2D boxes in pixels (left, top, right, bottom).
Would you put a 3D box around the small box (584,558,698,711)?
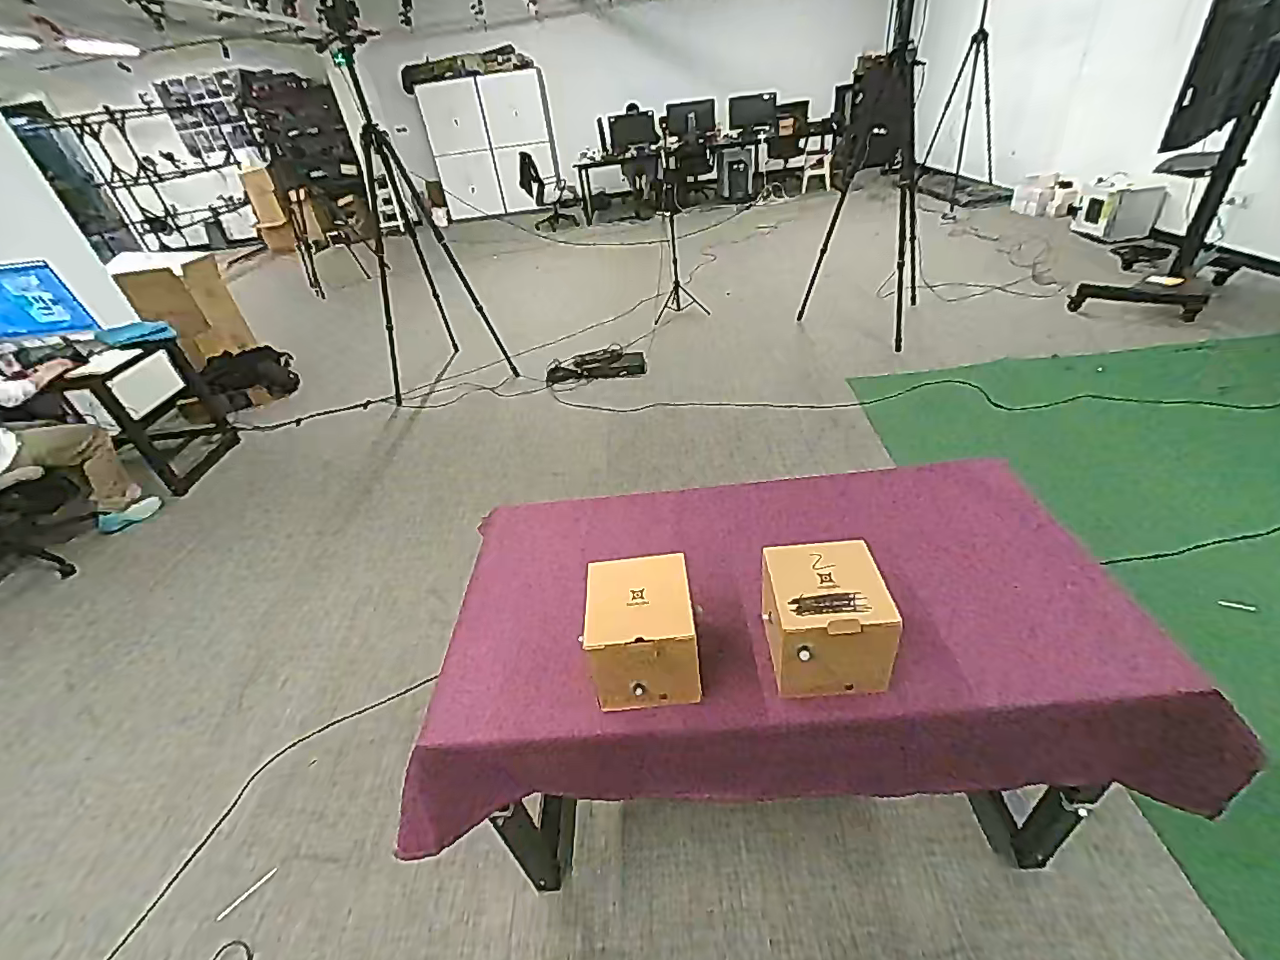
[{"bbox_3d":[0.004,0.258,0.909,0.168,0.176,0.179,-7,37,2],"label":"small box"}]
